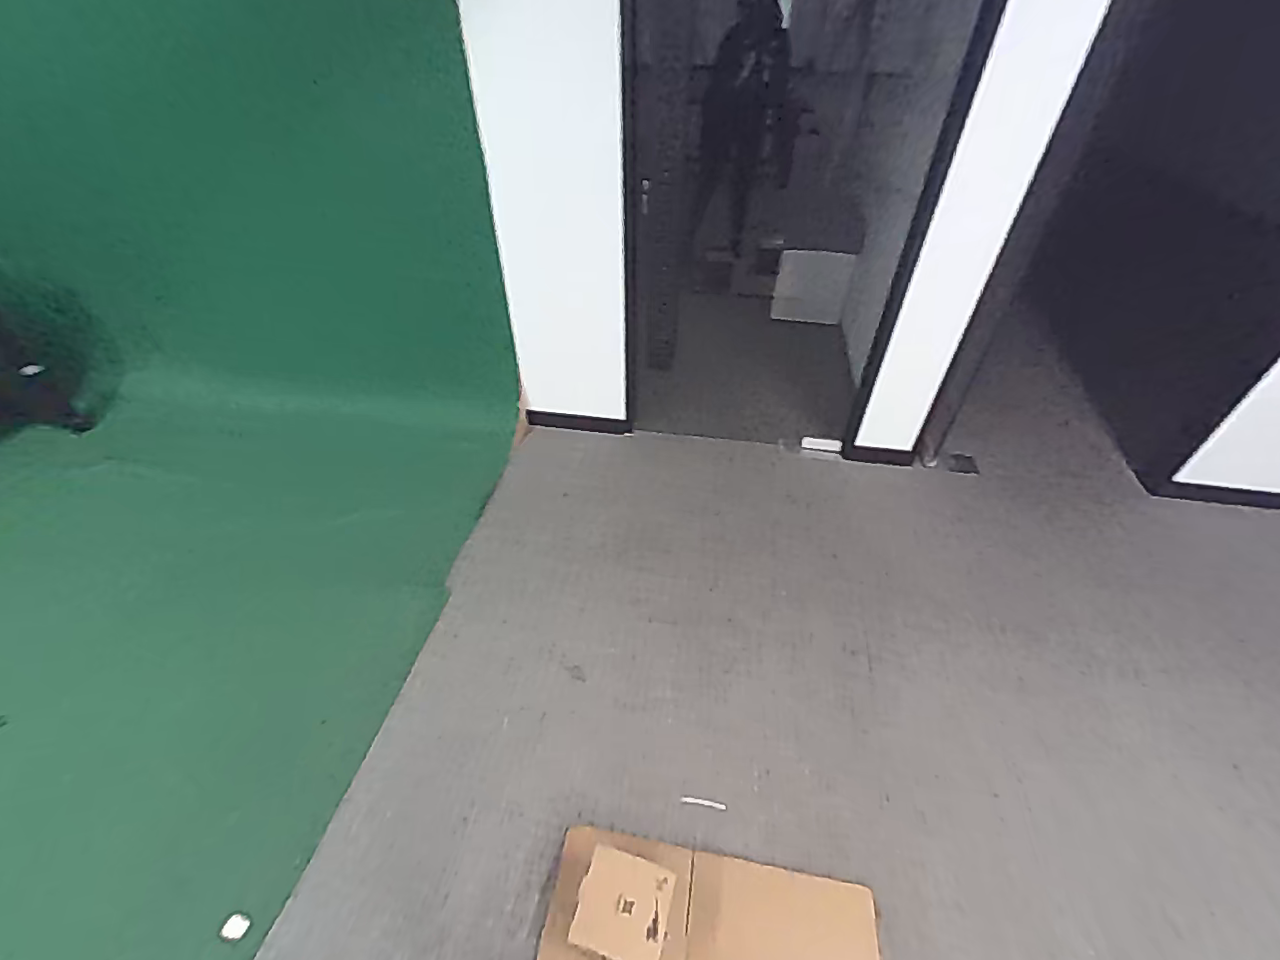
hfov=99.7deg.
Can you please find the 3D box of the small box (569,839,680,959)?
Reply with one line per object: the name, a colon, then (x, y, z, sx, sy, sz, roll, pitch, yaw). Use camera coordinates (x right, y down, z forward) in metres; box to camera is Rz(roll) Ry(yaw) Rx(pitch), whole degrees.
small box: (-0.027, 0.869, 1.095, 0.179, 0.176, 0.168, 12, 43, 12)
